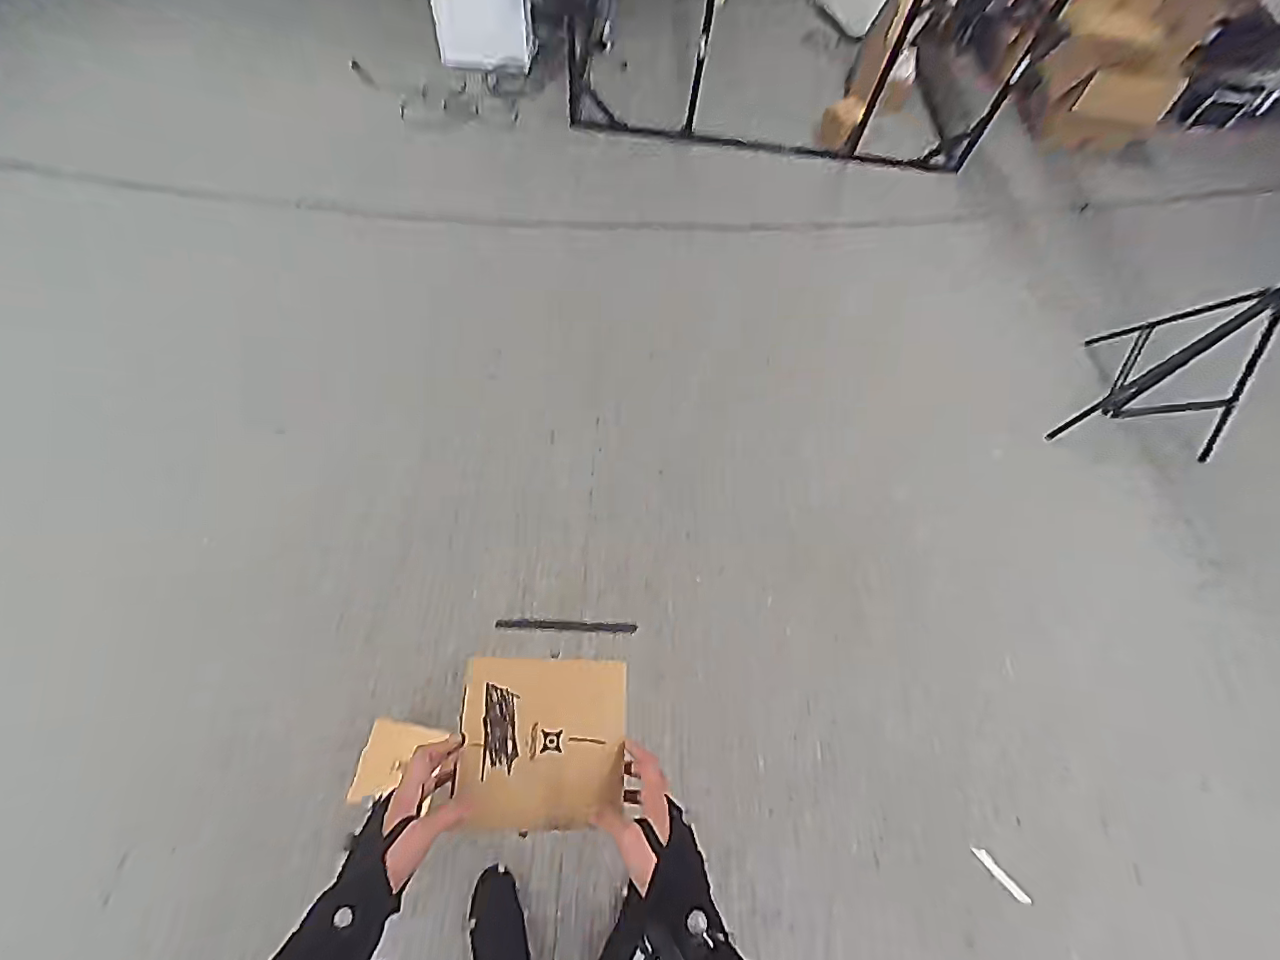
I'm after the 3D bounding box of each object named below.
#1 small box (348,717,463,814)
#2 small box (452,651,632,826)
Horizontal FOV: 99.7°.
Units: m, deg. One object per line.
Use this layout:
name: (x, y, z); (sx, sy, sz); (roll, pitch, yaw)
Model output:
small box: (-0.528, 0.658, 1.253); (0.179, 0.176, 0.168); (11, 61, 1)
small box: (-0.112, 0.298, 0.641); (0.179, 0.176, 0.168); (5, 69, -10)
